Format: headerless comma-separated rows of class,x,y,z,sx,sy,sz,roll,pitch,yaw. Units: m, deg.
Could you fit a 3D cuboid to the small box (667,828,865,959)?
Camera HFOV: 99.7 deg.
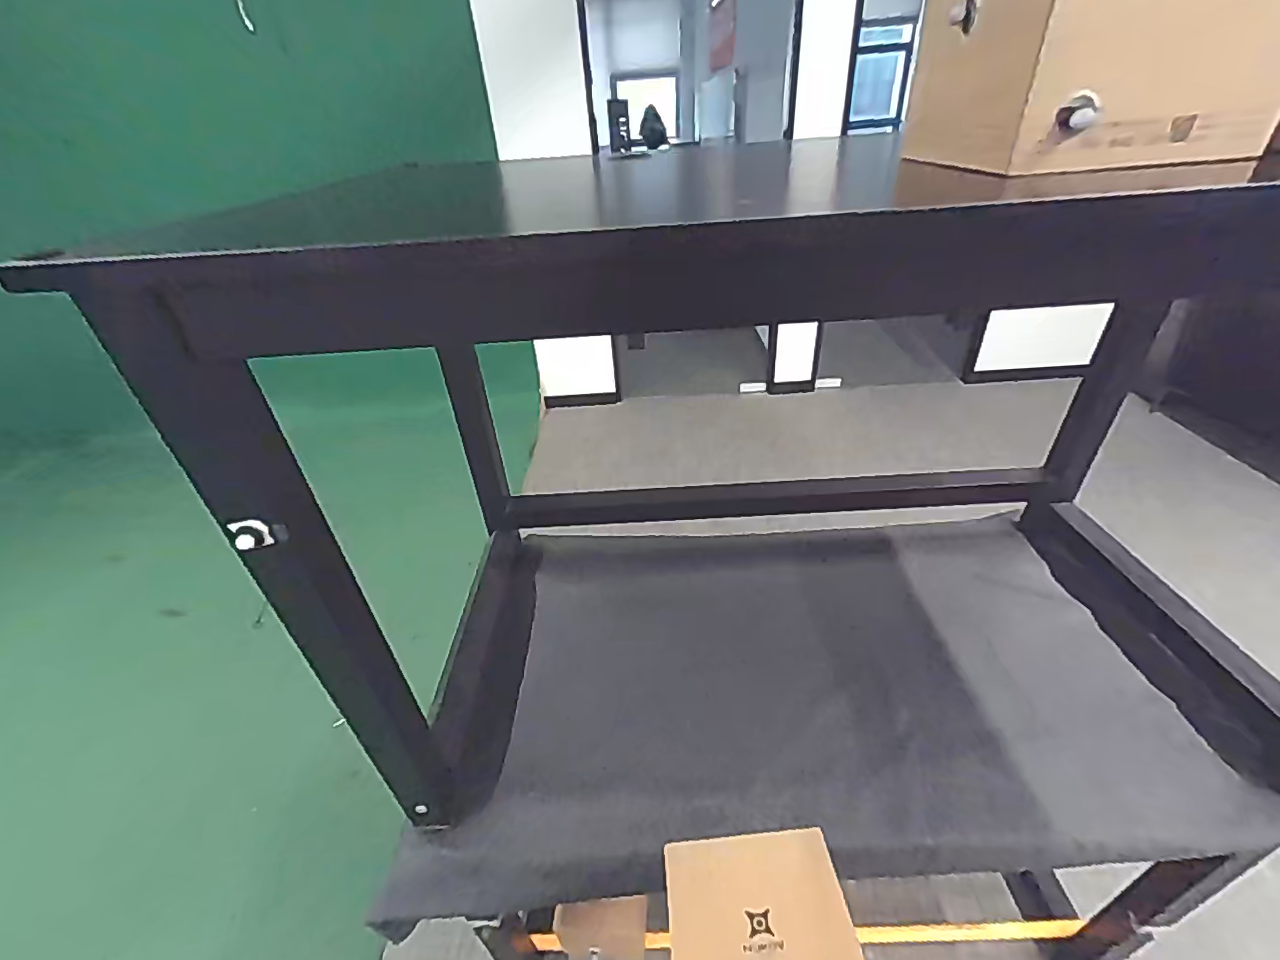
small box,0.118,0.478,0.515,0.168,0.176,0.179,-8,20,1
